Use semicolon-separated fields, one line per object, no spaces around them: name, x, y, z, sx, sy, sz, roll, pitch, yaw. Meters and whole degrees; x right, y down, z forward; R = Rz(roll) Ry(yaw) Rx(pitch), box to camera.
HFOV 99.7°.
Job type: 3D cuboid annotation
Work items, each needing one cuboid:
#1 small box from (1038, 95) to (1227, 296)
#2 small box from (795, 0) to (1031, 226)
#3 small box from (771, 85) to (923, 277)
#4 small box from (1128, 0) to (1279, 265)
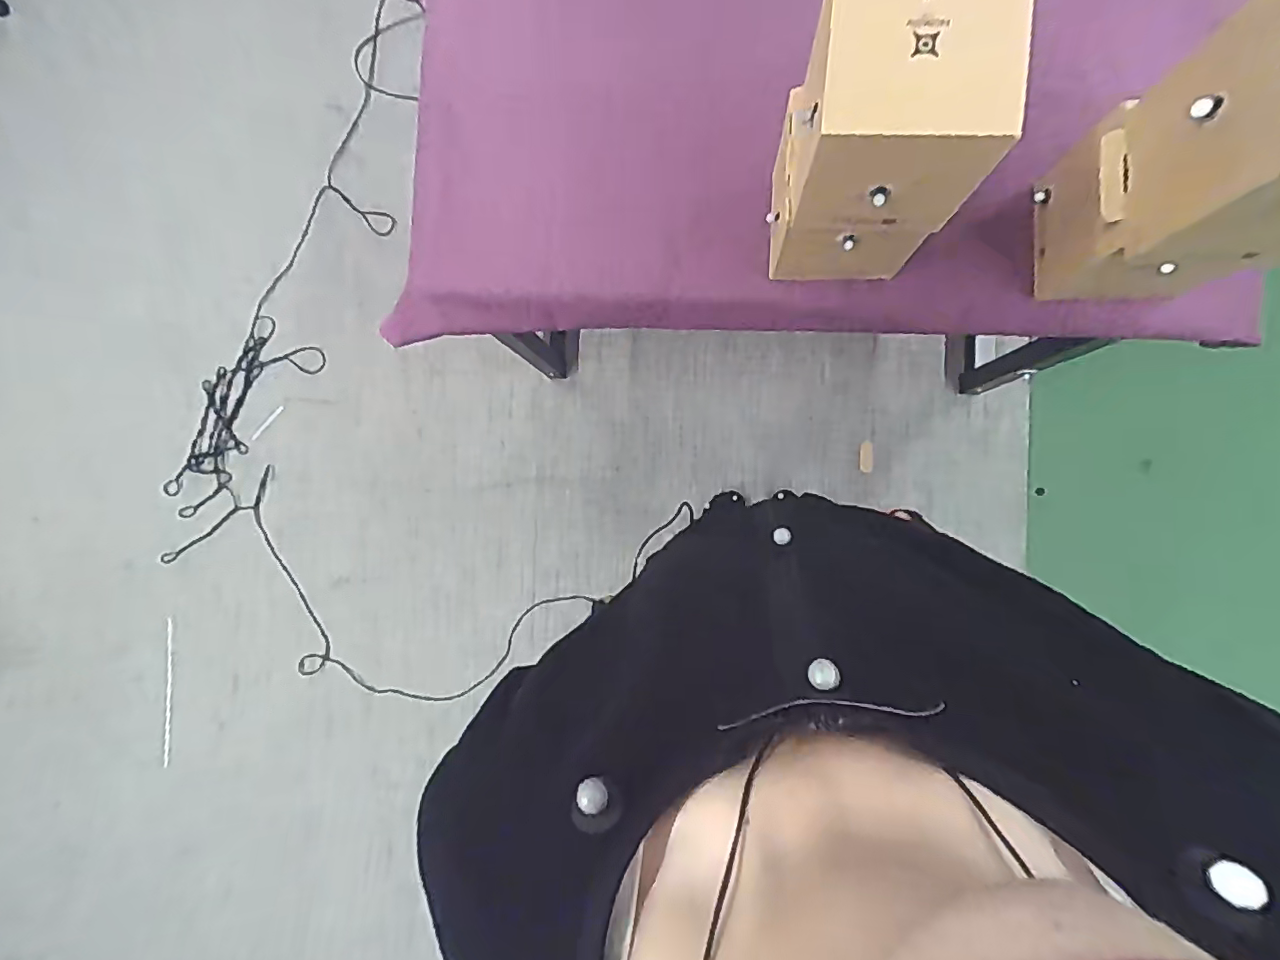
small box;0.624;-0.335;0.661;0.179;0.176;0.168;1;89;7
small box;0.257;-0.380;0.545;0.168;0.176;0.179;6;89;7
small box;0.271;-0.379;0.709;0.179;0.176;0.168;3;88;7
small box;0.601;-0.321;0.498;0.168;0.176;0.179;3;88;8
